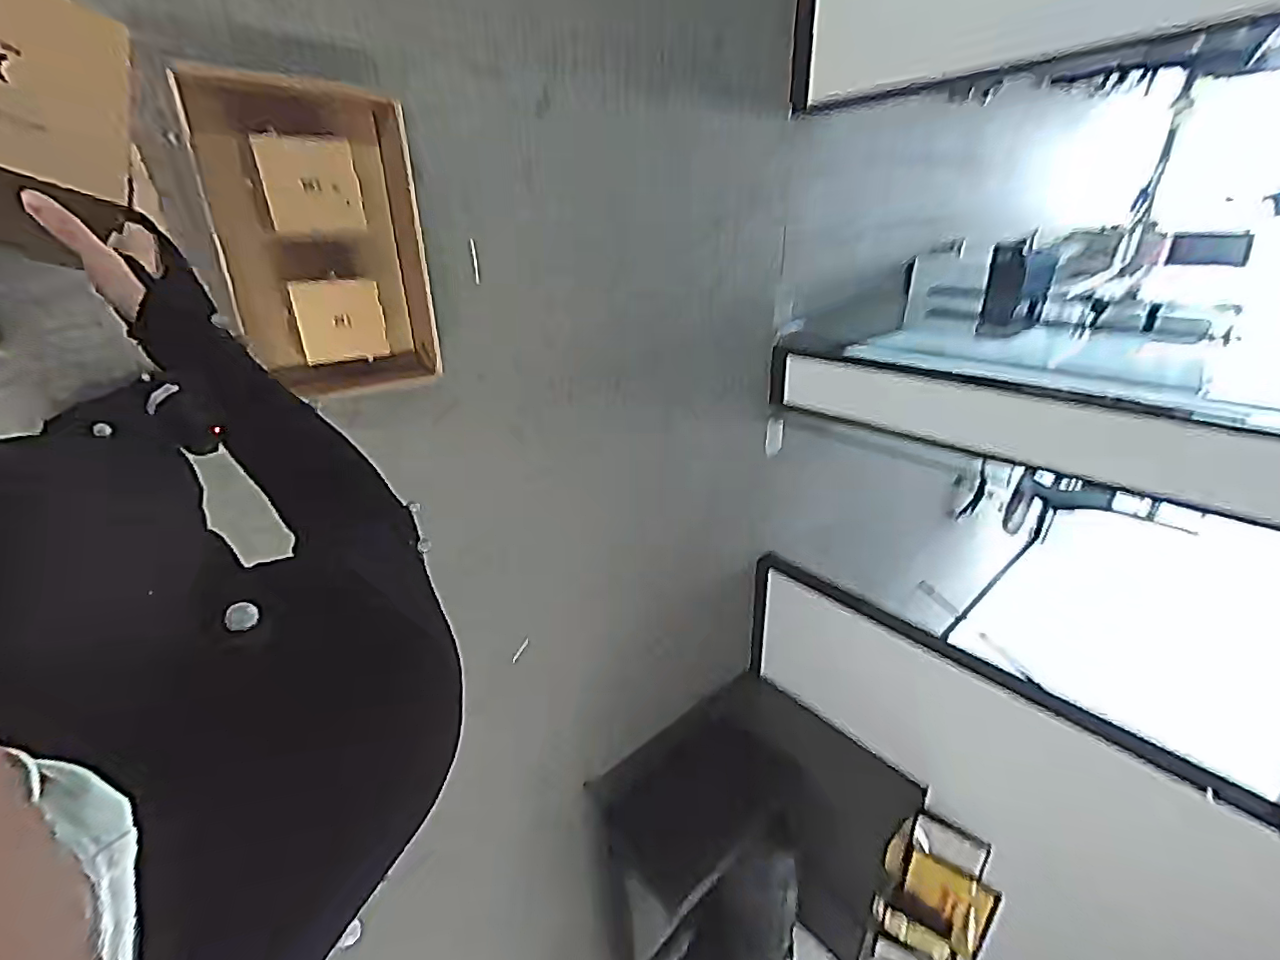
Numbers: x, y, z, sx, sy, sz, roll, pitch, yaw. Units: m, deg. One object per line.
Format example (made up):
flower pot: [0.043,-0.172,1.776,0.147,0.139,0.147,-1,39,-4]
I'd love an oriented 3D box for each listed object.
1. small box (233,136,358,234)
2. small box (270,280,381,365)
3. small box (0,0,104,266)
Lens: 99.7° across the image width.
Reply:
small box: [-0.721,-0.605,1.127,0.179,0.176,0.168,-21,123,-36]
small box: [-0.722,-0.365,1.235,0.179,0.176,0.168,-20,120,-37]
small box: [-0.568,-0.308,0.438,0.168,0.176,0.179,1,82,-54]
